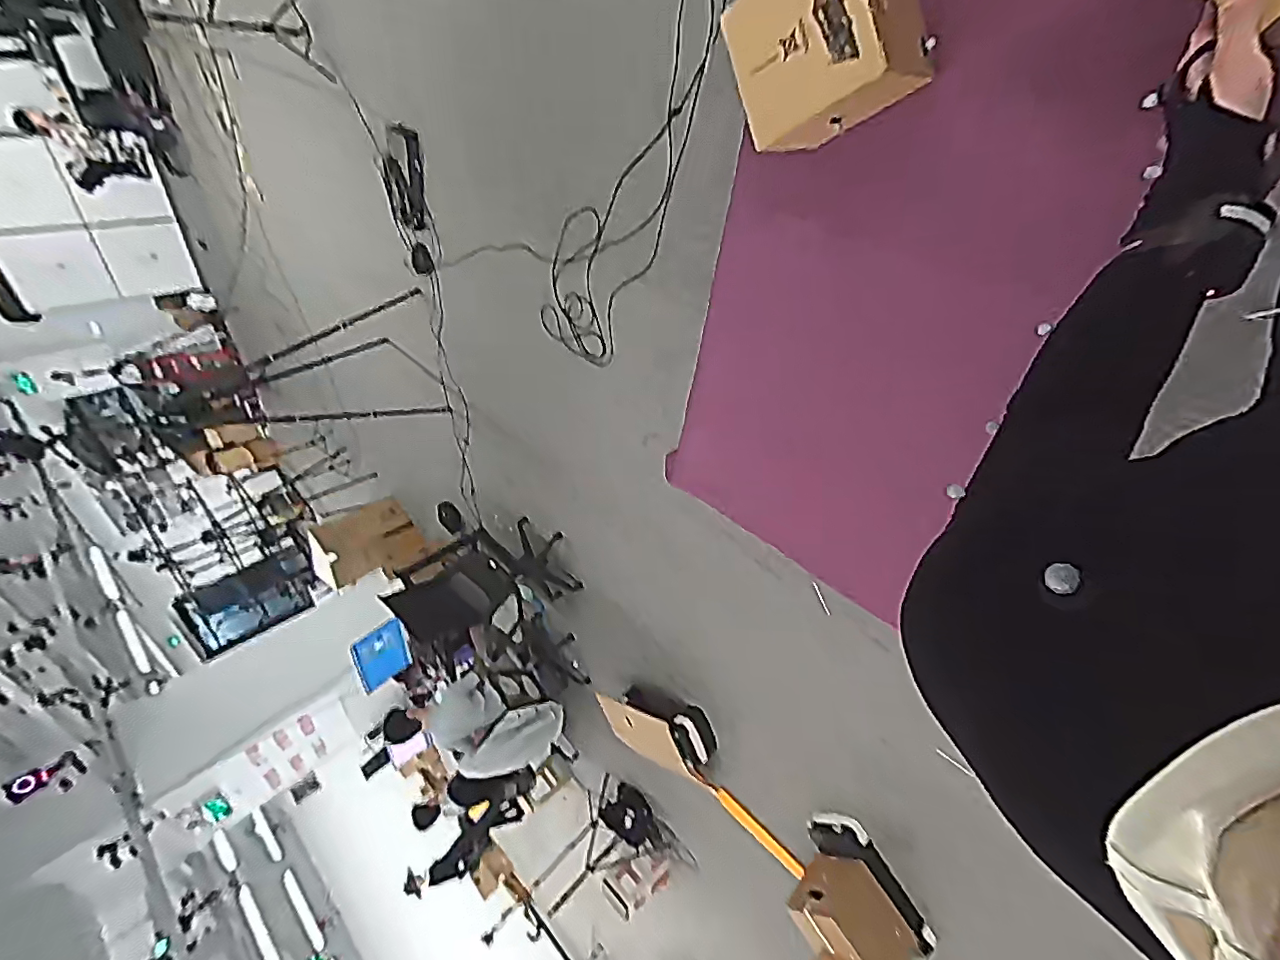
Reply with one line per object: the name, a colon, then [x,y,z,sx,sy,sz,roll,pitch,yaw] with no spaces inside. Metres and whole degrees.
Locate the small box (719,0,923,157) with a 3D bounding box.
small box: [0.236,-0.541,0.686,0.179,0.176,0.168,-5,110,49]

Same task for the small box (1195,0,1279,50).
small box: [0.518,-0.469,0.405,0.179,0.176,0.168,59,149,9]
